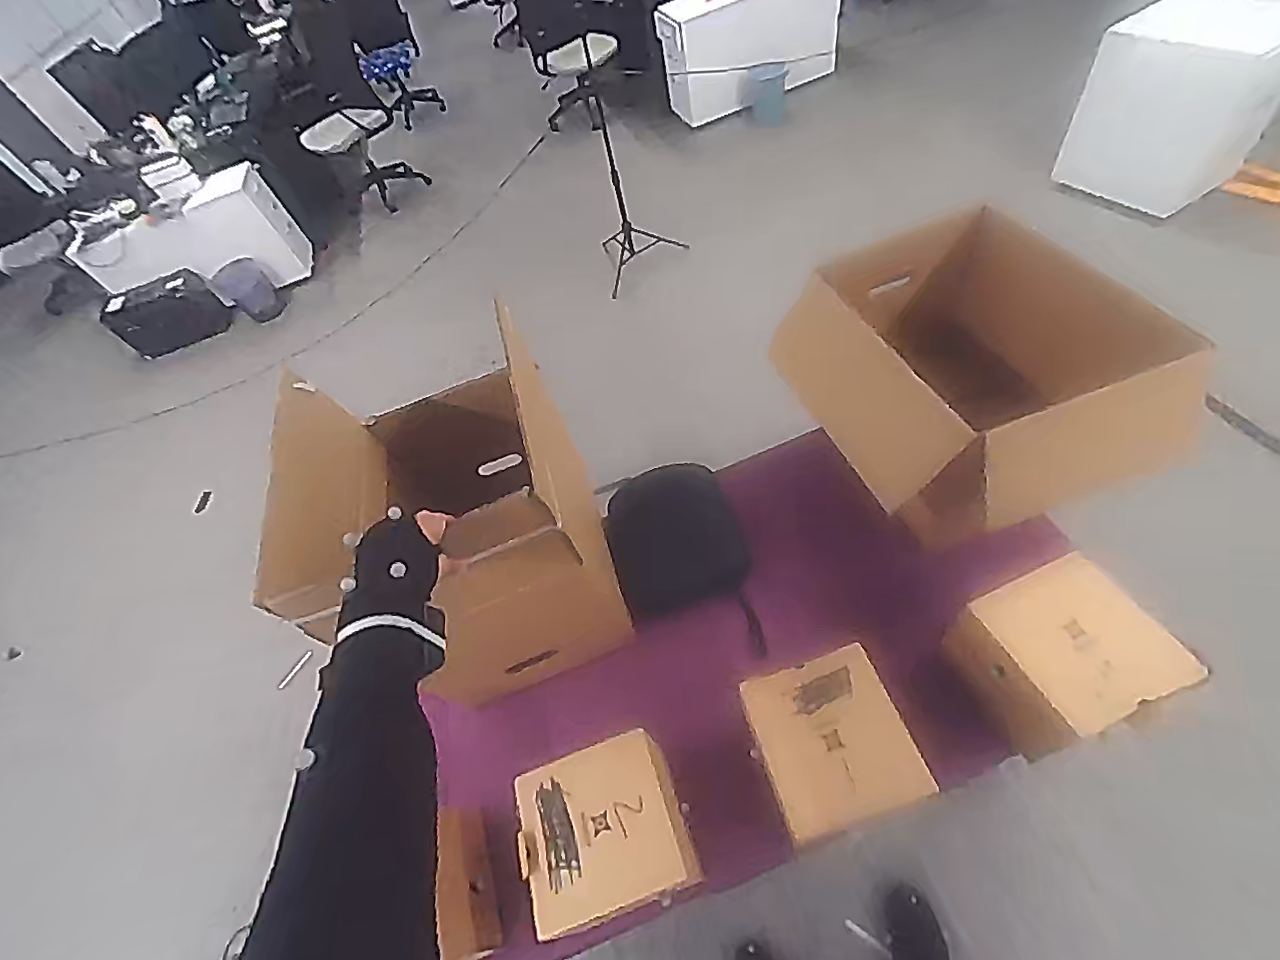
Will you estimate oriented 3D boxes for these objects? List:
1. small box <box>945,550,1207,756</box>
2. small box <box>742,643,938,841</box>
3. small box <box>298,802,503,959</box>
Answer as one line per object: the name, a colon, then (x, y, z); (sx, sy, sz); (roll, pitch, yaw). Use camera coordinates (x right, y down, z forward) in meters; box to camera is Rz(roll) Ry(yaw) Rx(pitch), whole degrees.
small box: (0.534, 0.227, 0.700); (0.168, 0.176, 0.179); (-25, 53, -2)
small box: (0.241, 0.341, 0.698); (0.168, 0.176, 0.179); (-20, 53, 1)
small box: (-0.302, 0.547, 0.696); (0.179, 0.176, 0.168); (-24, 53, -4)
